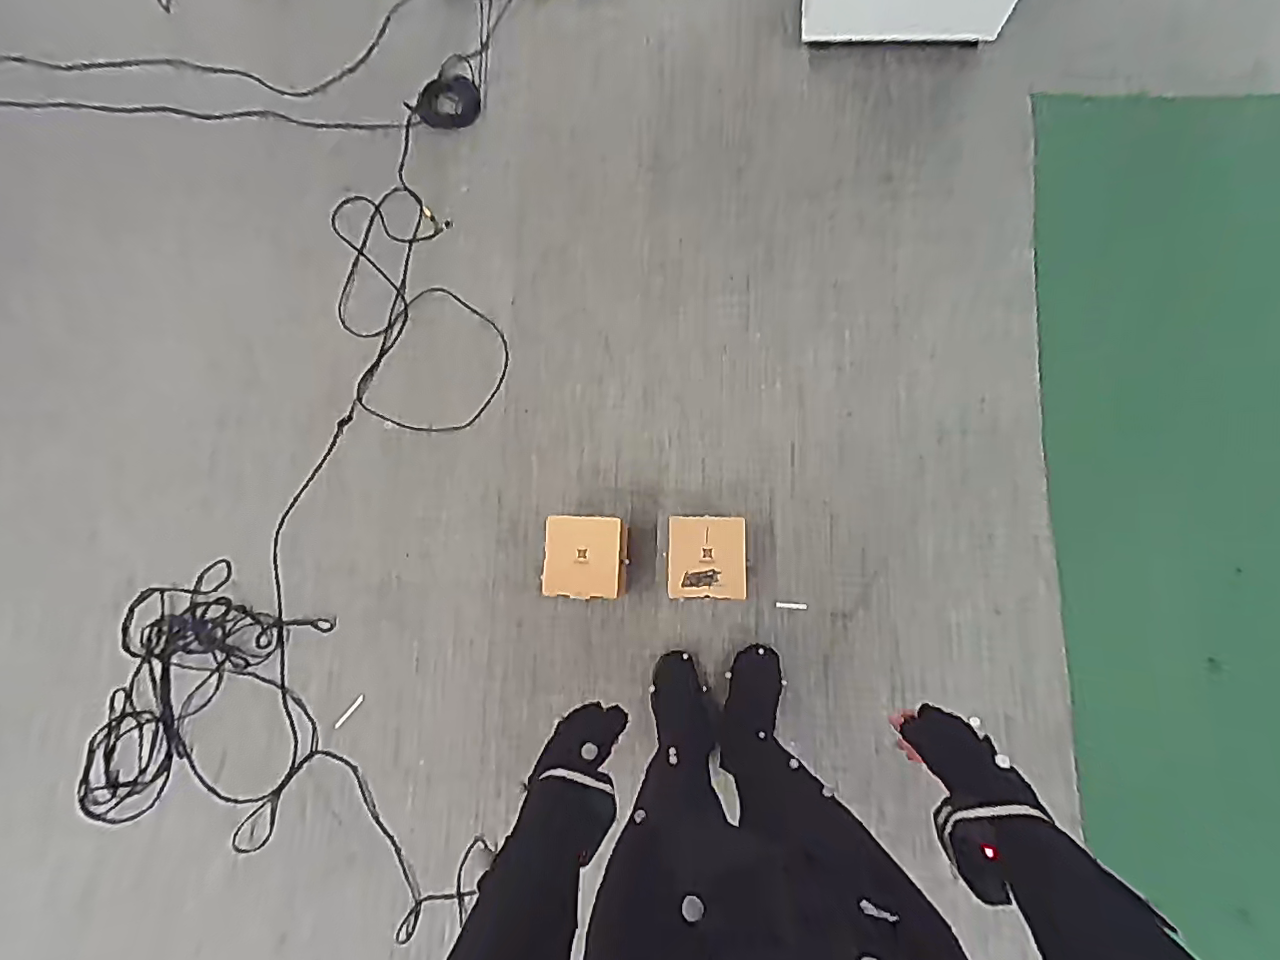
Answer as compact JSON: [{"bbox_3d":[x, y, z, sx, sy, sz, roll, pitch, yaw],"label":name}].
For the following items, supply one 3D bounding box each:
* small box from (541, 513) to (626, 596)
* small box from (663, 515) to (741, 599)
[{"bbox_3d":[-0.124,0.177,1.259,0.168,0.176,0.179,1,80,5],"label":"small box"},{"bbox_3d":[0.141,0.178,1.237,0.168,0.176,0.179,1,79,4],"label":"small box"}]
